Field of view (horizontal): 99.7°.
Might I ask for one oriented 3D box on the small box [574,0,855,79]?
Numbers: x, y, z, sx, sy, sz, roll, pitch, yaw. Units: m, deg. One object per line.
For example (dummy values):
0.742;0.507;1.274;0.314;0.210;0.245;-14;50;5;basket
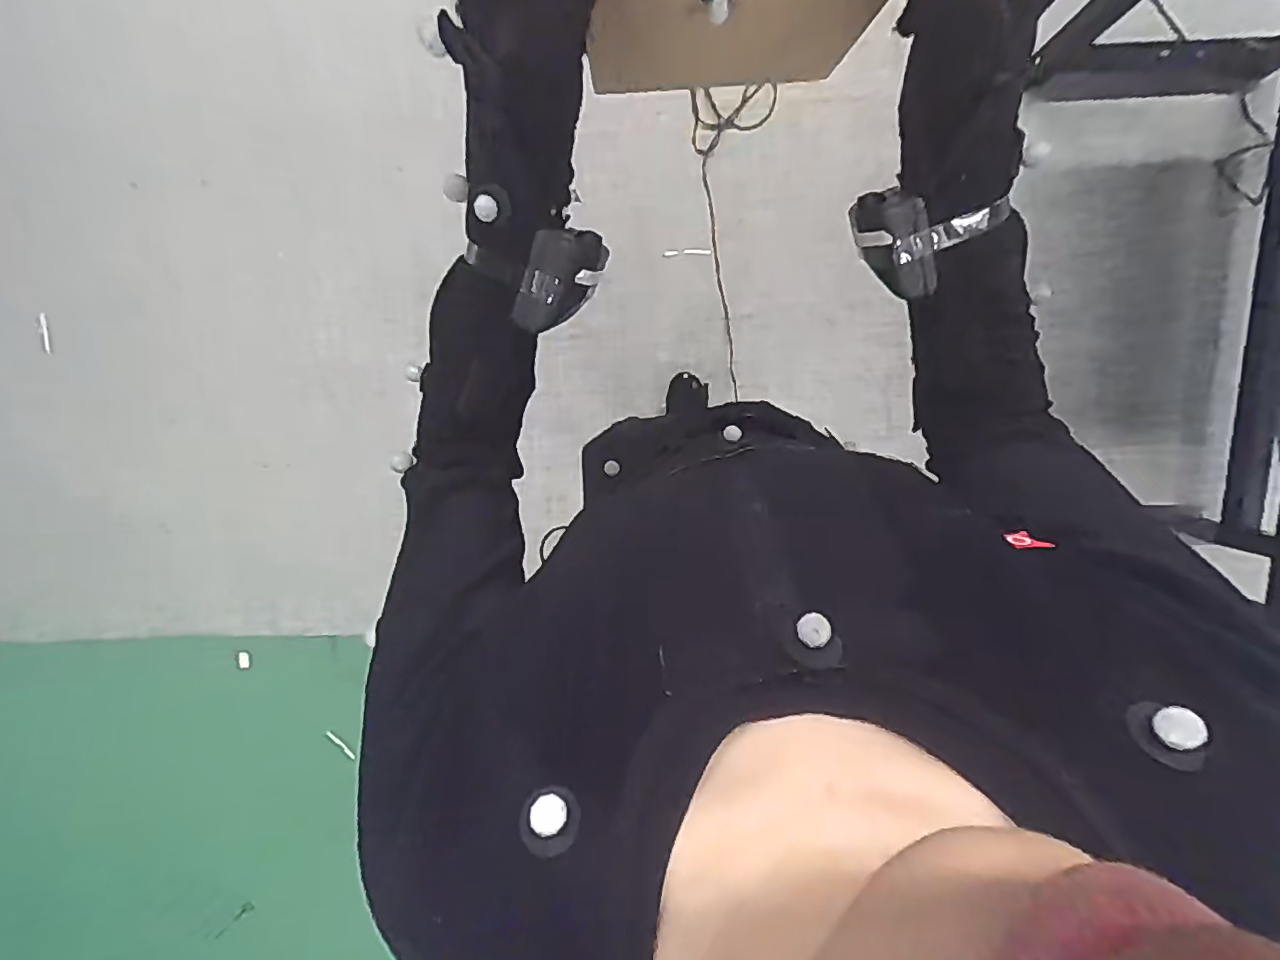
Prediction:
0.043;-0.351;0.299;0.179;0.176;0.168;-3;107;0;small box
